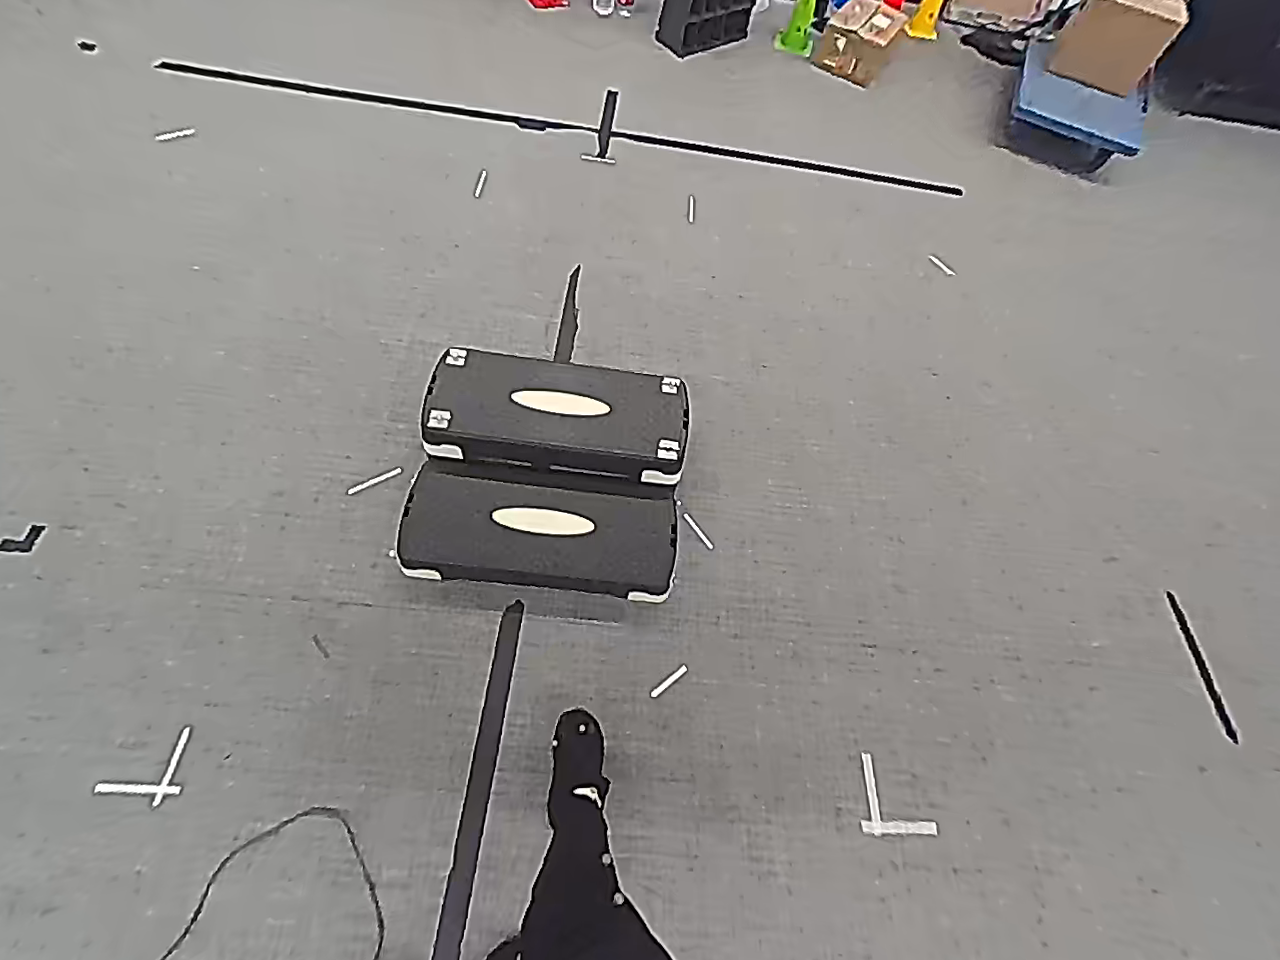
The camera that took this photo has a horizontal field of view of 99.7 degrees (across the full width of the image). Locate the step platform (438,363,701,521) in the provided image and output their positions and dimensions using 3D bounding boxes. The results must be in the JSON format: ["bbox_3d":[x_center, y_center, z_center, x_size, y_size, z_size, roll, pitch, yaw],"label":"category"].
[{"bbox_3d":[-0.179,-0.102,1.463,0.684,0.204,0.286,11,59,-2],"label":"step platform"}]
